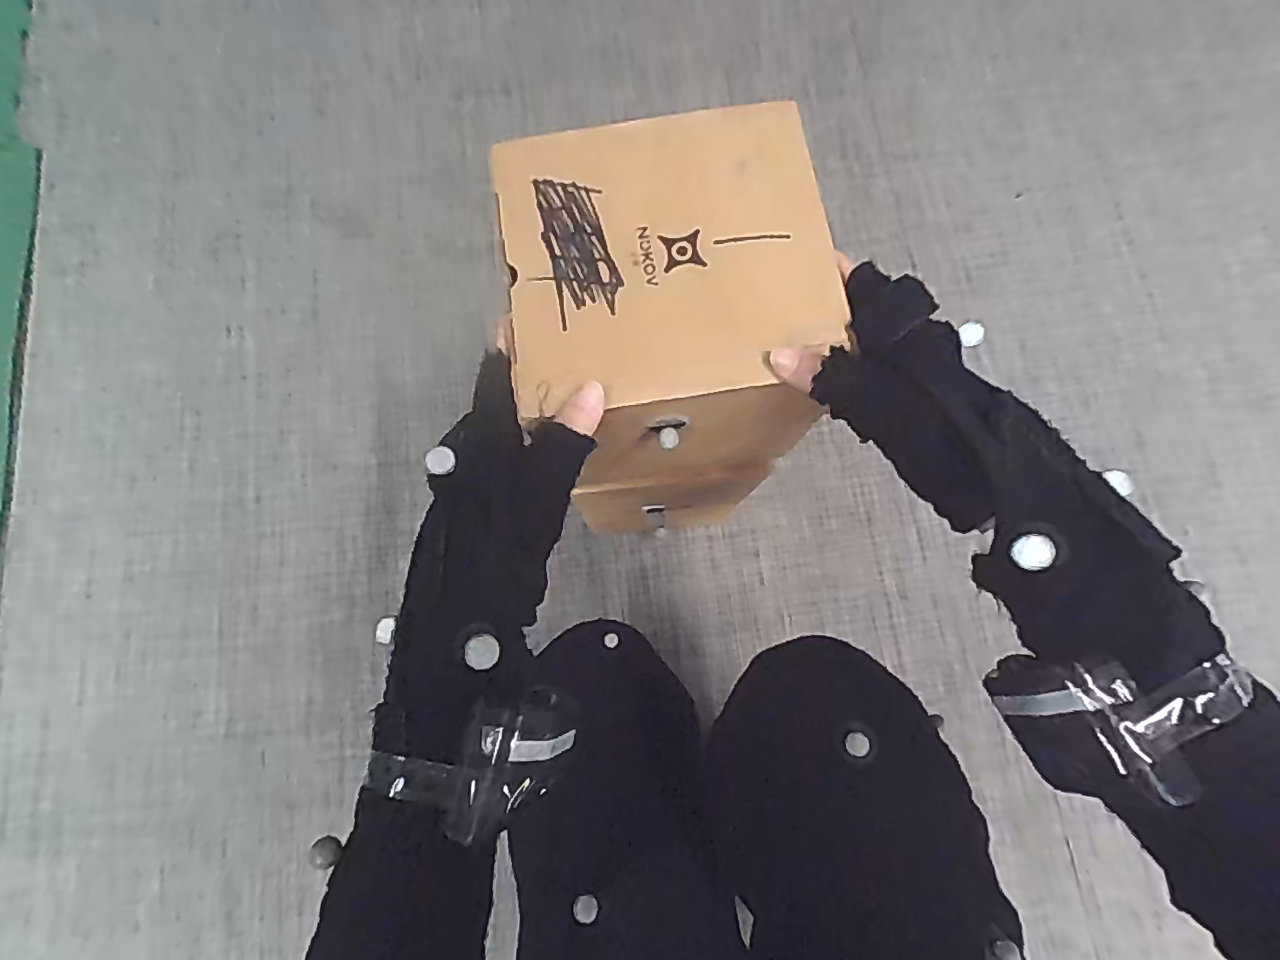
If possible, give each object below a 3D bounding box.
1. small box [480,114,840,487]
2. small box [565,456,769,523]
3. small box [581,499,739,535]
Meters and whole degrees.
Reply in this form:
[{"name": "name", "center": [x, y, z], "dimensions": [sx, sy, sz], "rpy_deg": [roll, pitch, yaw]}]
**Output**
[{"name": "small box", "center": [0.009, -0.097, 0.365], "dimensions": [0.179, 0.176, 0.168], "rpy_deg": [-8, 78, 1]}, {"name": "small box", "center": [0.016, -0.061, 0.524], "dimensions": [0.168, 0.176, 0.179], "rpy_deg": [-7, 79, 2]}, {"name": "small box", "center": [0.017, -0.025, 0.683], "dimensions": [0.179, 0.176, 0.168], "rpy_deg": [-5, 78, 0]}]
